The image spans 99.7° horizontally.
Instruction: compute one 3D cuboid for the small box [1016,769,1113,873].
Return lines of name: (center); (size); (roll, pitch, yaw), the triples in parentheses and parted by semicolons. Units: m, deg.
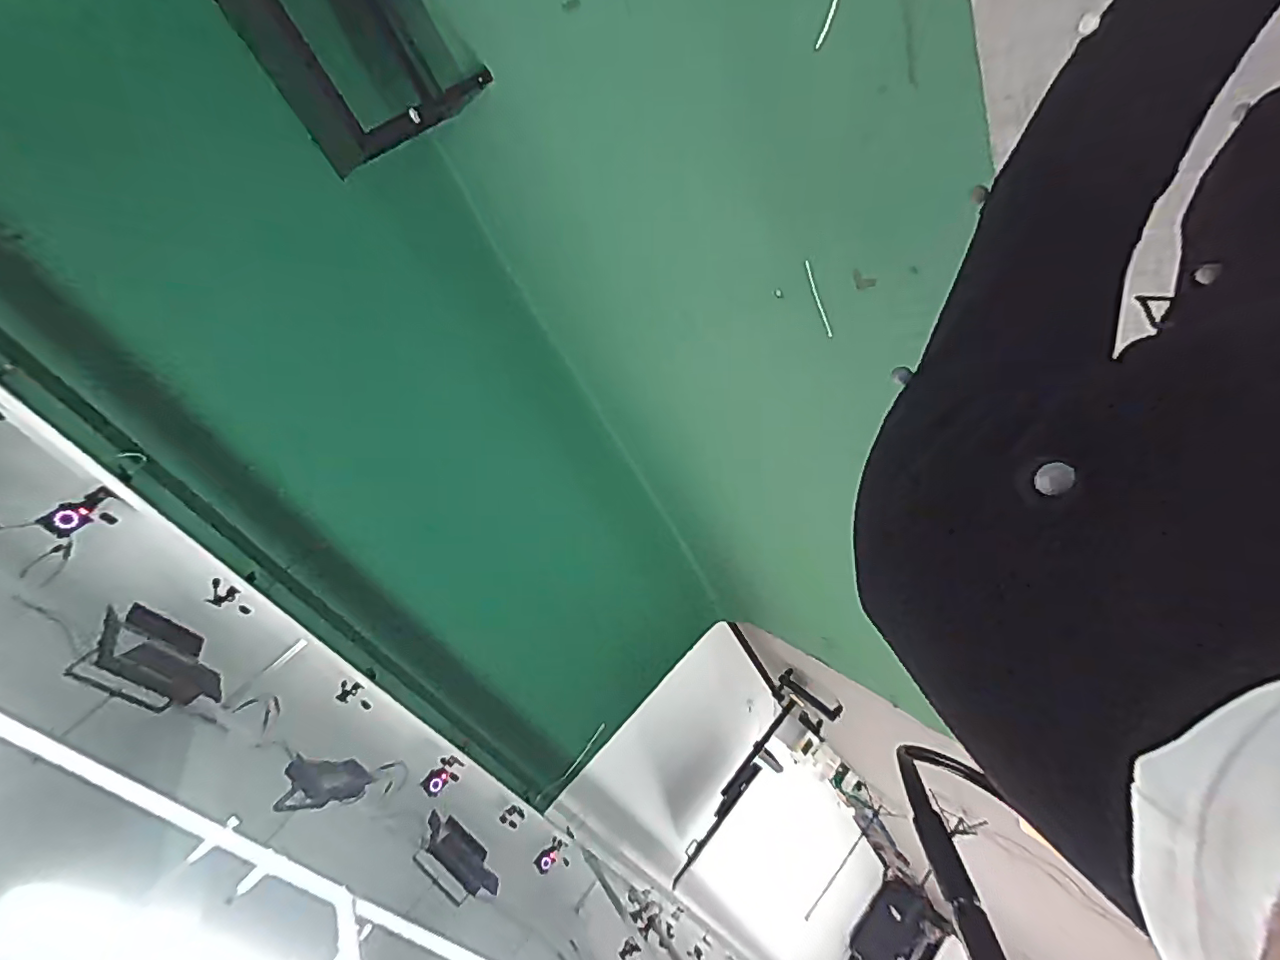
small box: (1.233, 0.981, 1.575); (0.179, 0.176, 0.168); (20, 147, 50)
